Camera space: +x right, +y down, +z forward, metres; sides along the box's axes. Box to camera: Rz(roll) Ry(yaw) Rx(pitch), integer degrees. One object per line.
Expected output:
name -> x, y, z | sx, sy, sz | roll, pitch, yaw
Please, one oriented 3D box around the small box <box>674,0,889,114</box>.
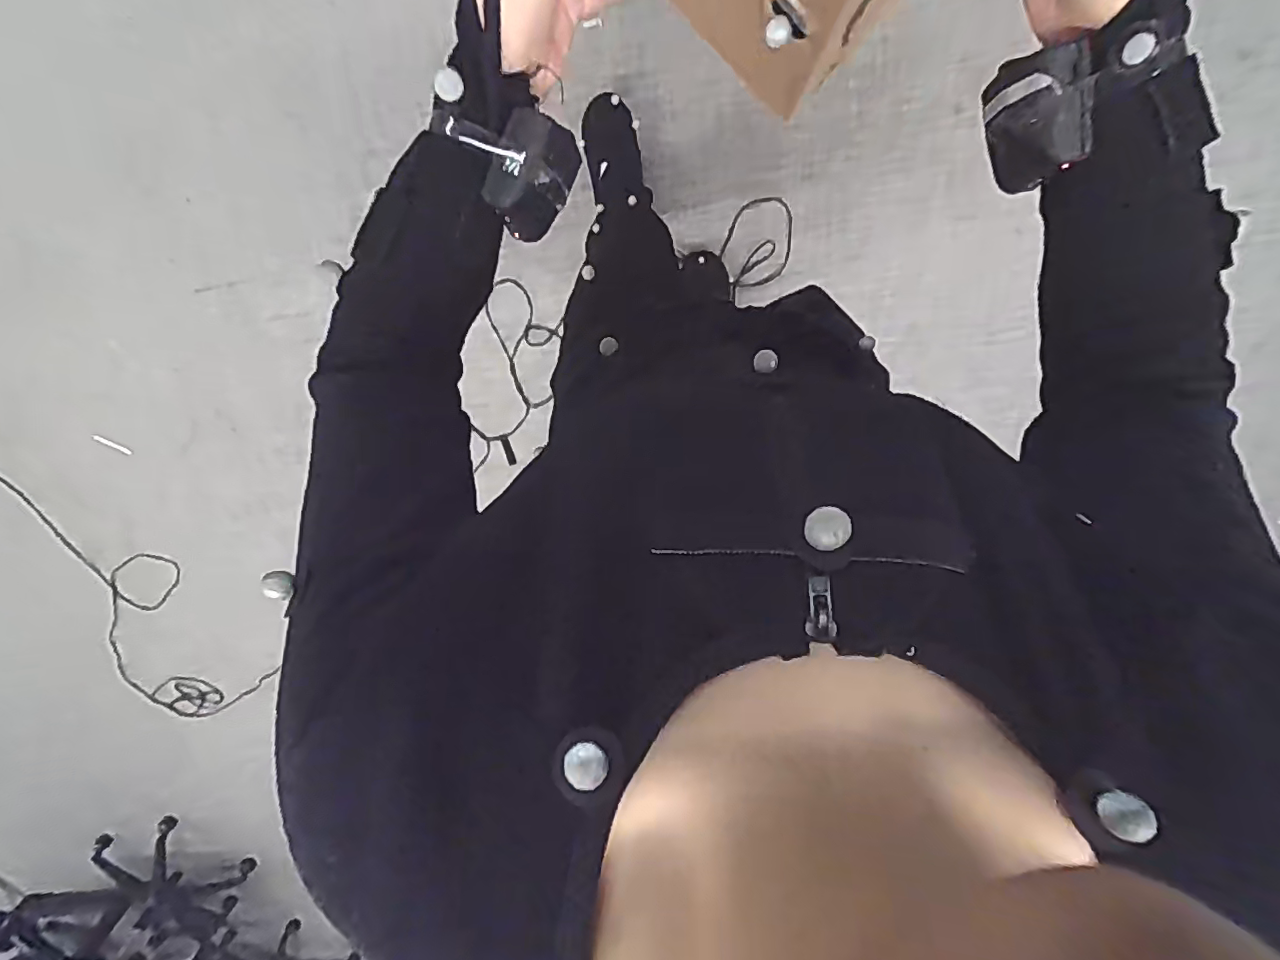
small box -> 0.083, -0.326, 0.239 | 0.176, 0.168, 0.179 | 41, 105, -6
